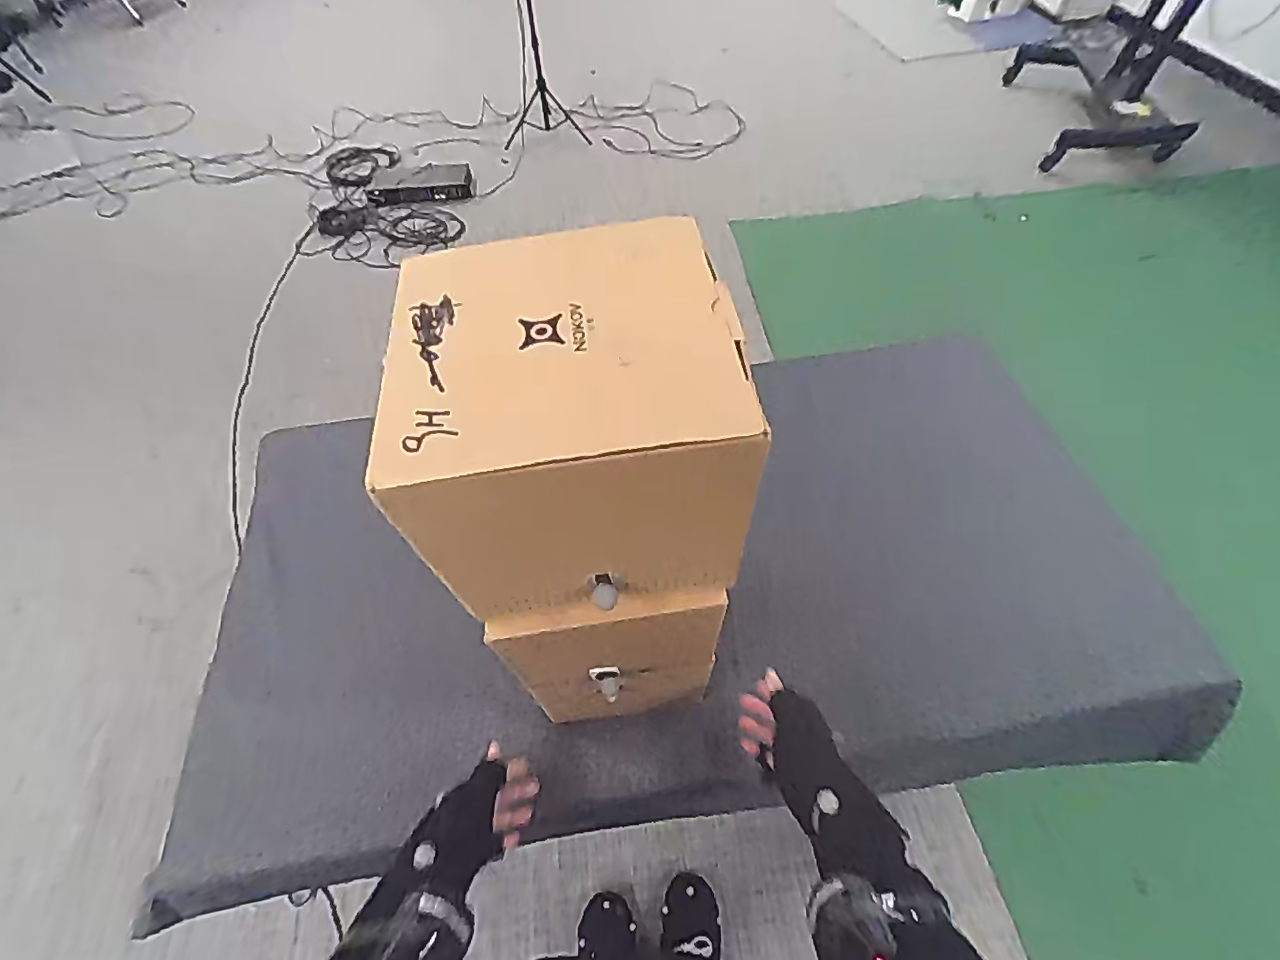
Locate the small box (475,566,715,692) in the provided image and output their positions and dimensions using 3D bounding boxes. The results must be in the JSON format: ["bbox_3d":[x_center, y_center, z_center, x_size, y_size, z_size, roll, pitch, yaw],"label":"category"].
[{"bbox_3d":[-0.036,0.068,0.474,0.168,0.176,0.179,-9,58,-1],"label":"small box"}]

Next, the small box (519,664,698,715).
[{"bbox_3d":[-0.031,0.156,0.609,0.179,0.176,0.168,-7,57,-2],"label":"small box"}]

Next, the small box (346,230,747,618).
[{"bbox_3d":[-0.045,-0.026,0.341,0.179,0.176,0.168,-7,56,-2],"label":"small box"}]
